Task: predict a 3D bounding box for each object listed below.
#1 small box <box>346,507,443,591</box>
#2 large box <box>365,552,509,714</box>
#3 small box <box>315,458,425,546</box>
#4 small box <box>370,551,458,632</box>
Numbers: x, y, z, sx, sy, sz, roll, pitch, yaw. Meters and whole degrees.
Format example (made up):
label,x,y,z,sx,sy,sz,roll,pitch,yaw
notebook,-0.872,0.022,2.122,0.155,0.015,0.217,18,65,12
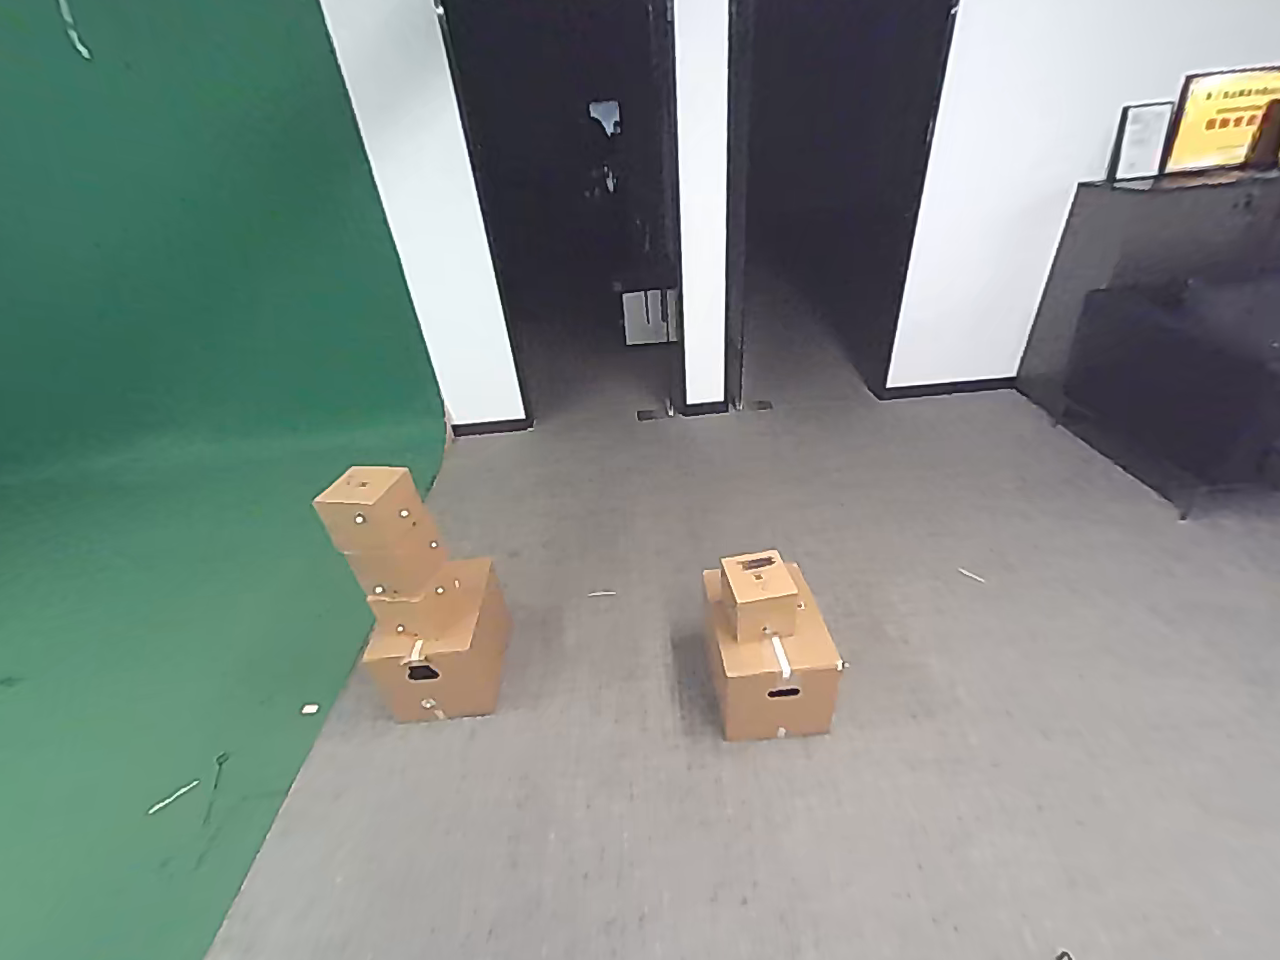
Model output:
label,x,y,z,sx,sy,sz,roll,pitch,yaw
small box,-0.683,0.190,1.533,0.168,0.176,0.179,2,36,12
large box,-0.643,0.499,1.797,0.320,0.320,0.408,-5,34,0
small box,-0.706,0.059,1.437,0.179,0.176,0.168,2,35,13
small box,-0.665,0.329,1.617,0.168,0.176,0.179,0,35,9
